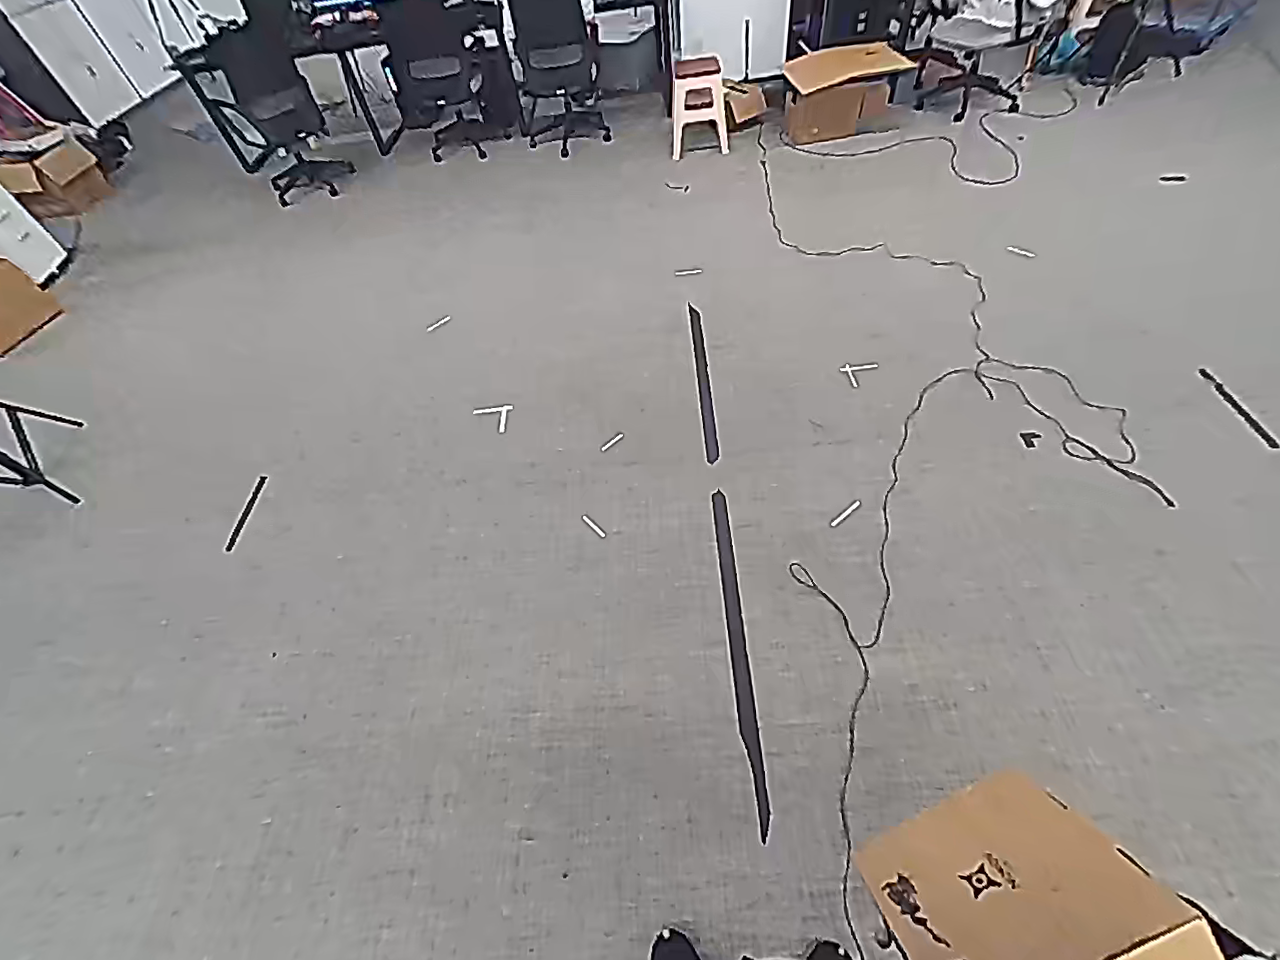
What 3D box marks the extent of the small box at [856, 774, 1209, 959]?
[{"bbox_3d":[0.316,0.390,0.433,0.179,0.168,0.176,-28,91,0],"label":"small box"}]
